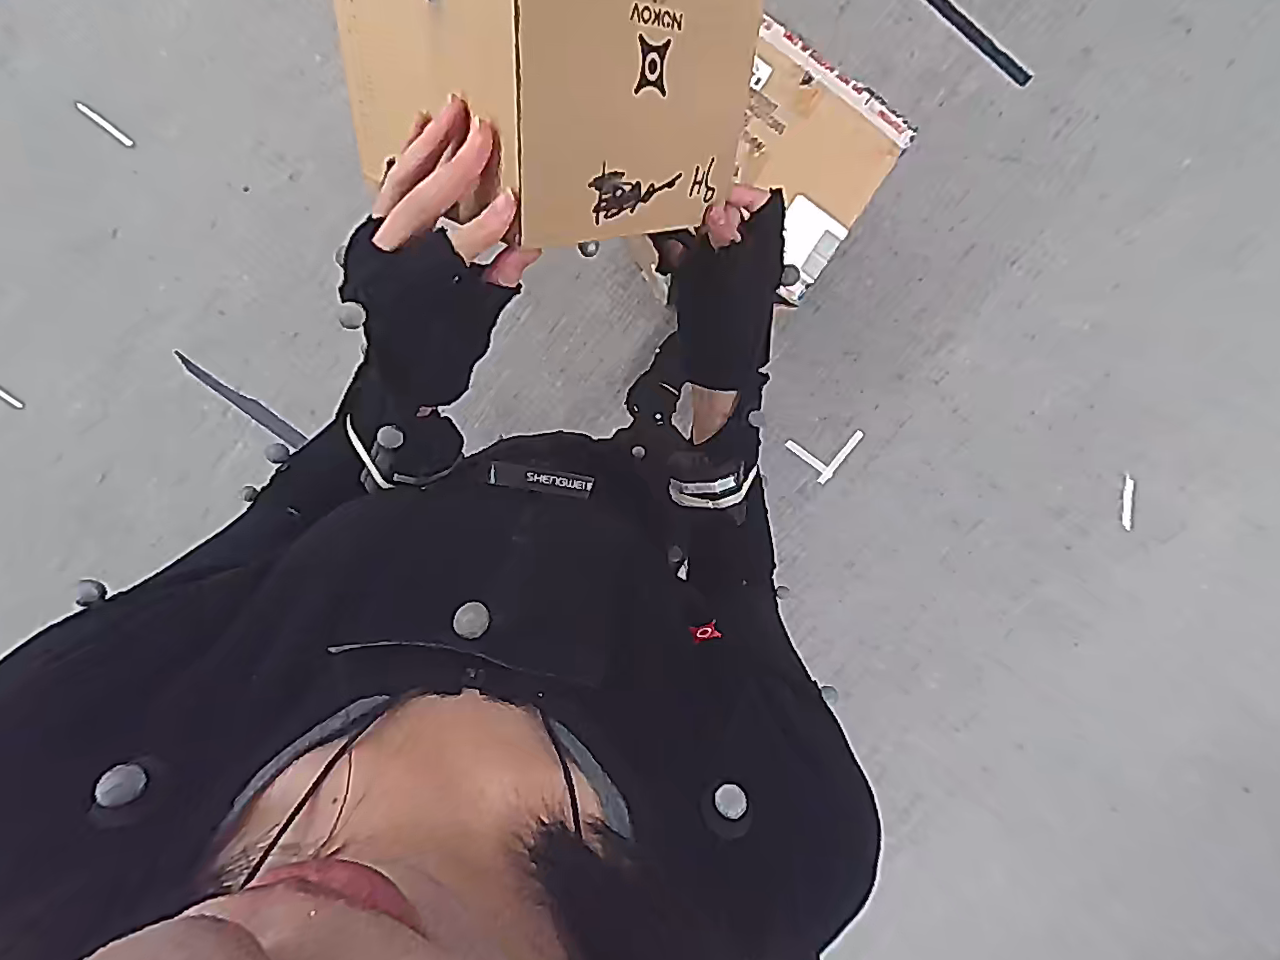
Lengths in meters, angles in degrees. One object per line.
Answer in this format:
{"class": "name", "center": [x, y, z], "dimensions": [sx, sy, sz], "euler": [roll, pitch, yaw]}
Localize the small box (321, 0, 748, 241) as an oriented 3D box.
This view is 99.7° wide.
{"class": "small box", "center": [-0.059, -0.248, 0.297], "dimensions": [0.176, 0.168, 0.179], "euler": [33, 133, 31]}
